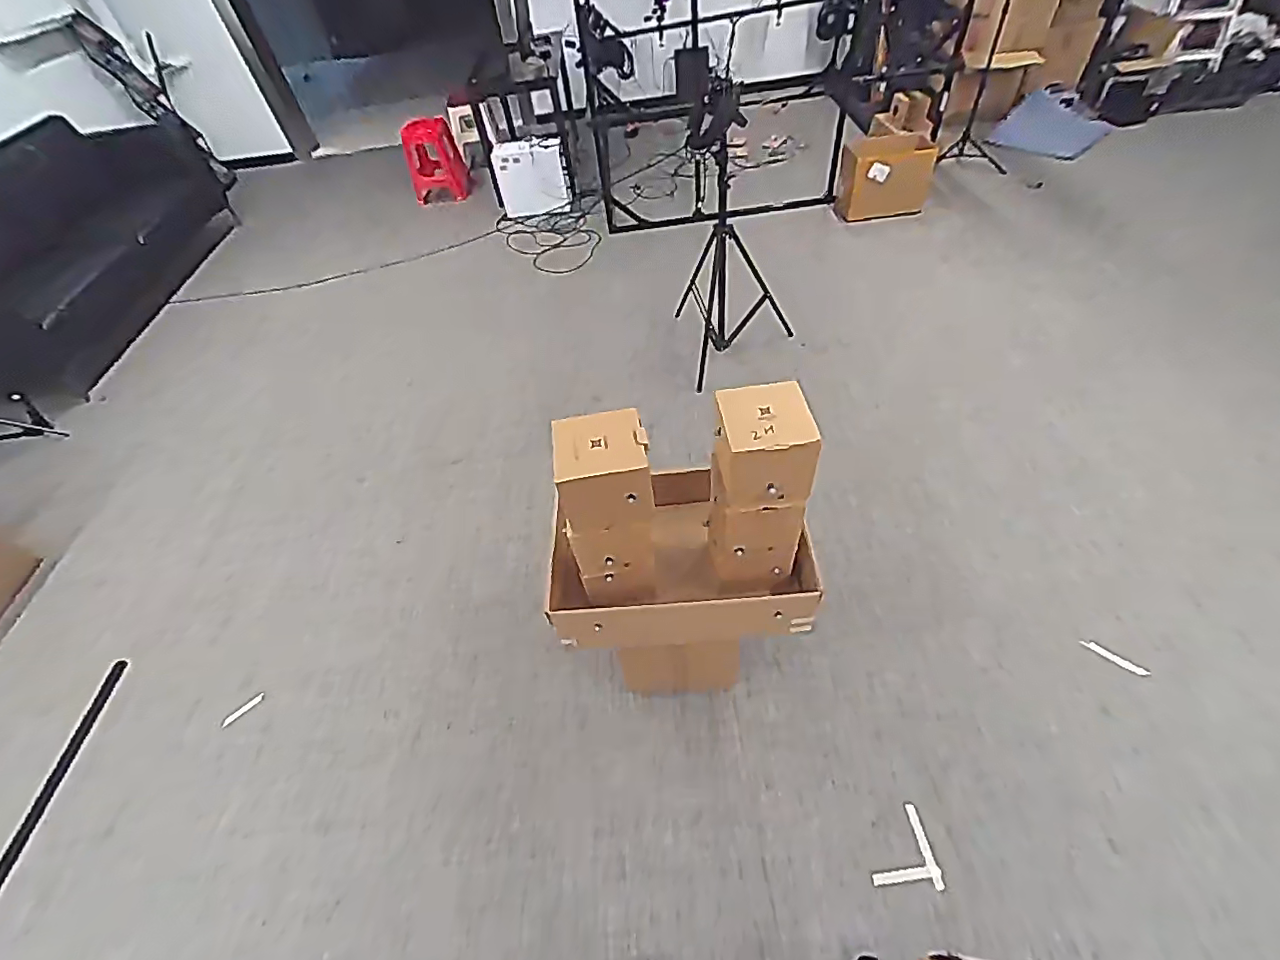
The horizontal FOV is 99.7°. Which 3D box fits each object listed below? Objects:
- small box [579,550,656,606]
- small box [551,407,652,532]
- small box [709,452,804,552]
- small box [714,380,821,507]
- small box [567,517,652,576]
[{"bbox_3d":[-0.055,0.187,1.327,0.168,0.176,0.179,-8,49,2],"label":"small box"},{"bbox_3d":[-0.072,-0.017,1.071,0.179,0.176,0.168,-9,50,-1],"label":"small box"},{"bbox_3d":[0.248,0.045,1.187,0.168,0.176,0.179,-7,50,0],"label":"small box"},{"bbox_3d":[0.240,-0.071,1.071,0.168,0.176,0.179,-8,50,1],"label":"small box"},{"bbox_3d":[-0.070,0.087,1.198,0.168,0.176,0.179,-10,51,-1],"label":"small box"}]
